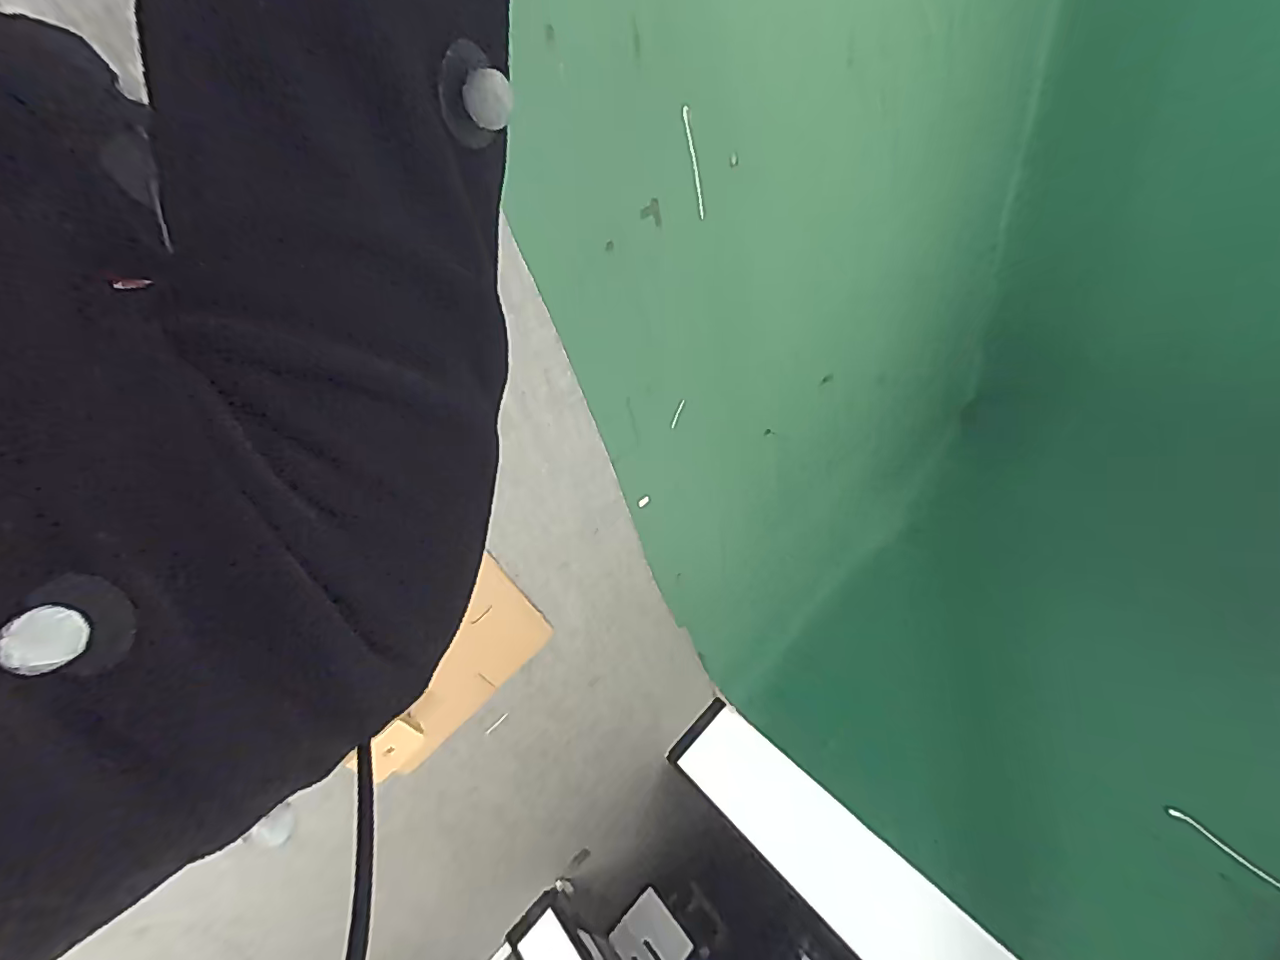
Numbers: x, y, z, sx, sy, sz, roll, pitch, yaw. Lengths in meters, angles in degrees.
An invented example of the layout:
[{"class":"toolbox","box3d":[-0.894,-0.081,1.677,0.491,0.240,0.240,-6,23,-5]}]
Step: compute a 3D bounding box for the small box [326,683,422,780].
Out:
[{"class":"small box","box3d":[-0.799,0.747,1.621,0.179,0.176,0.168,-40,137,-19]}]
